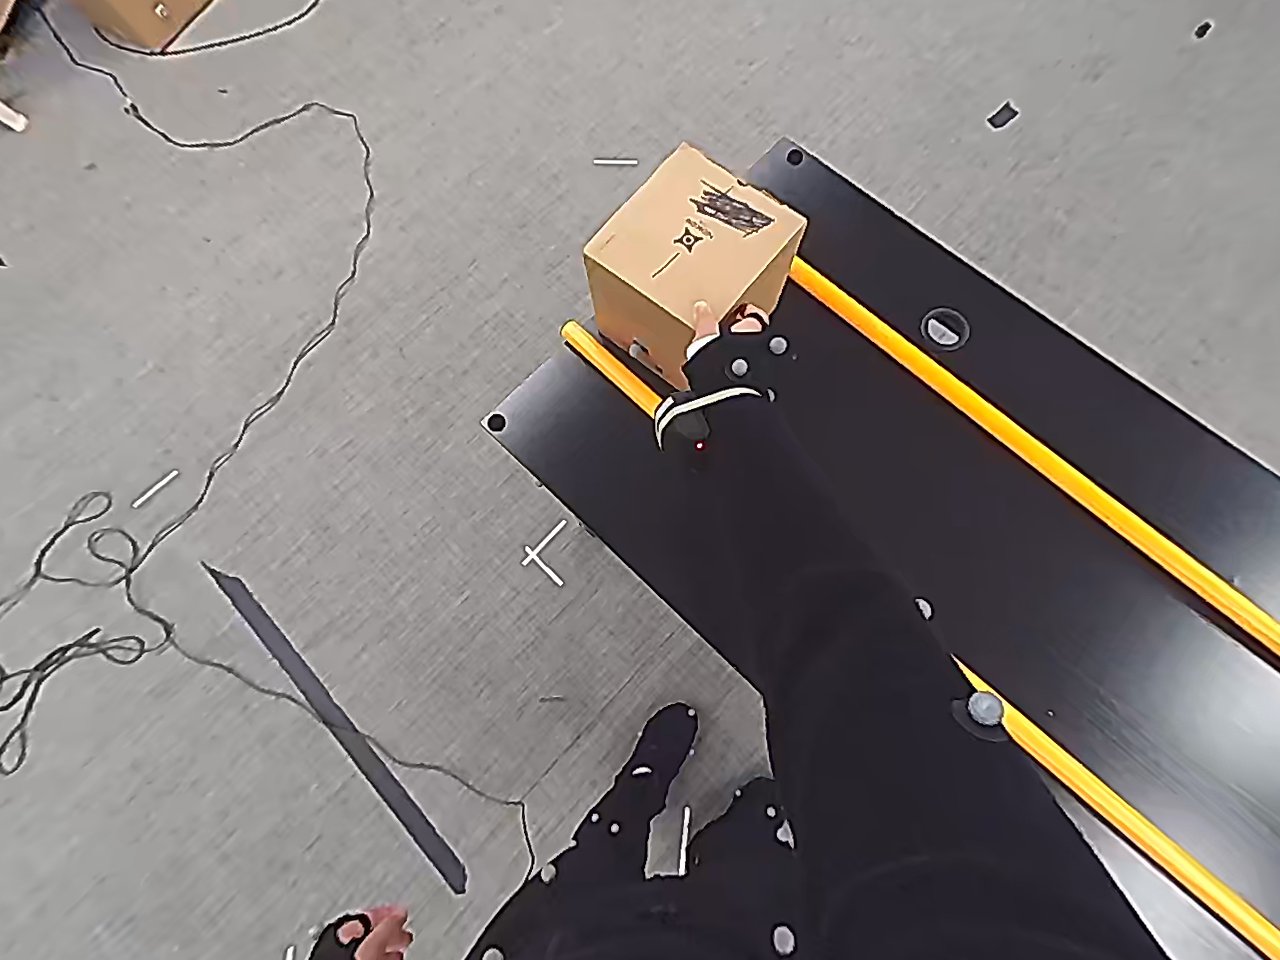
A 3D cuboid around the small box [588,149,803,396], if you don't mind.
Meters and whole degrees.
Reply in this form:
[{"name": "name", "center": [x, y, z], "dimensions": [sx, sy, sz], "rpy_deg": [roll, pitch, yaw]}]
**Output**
[{"name": "small box", "center": [0.060, -0.234, 0.646], "dimensions": [0.168, 0.176, 0.179], "rpy_deg": [38, 81, 11]}]
